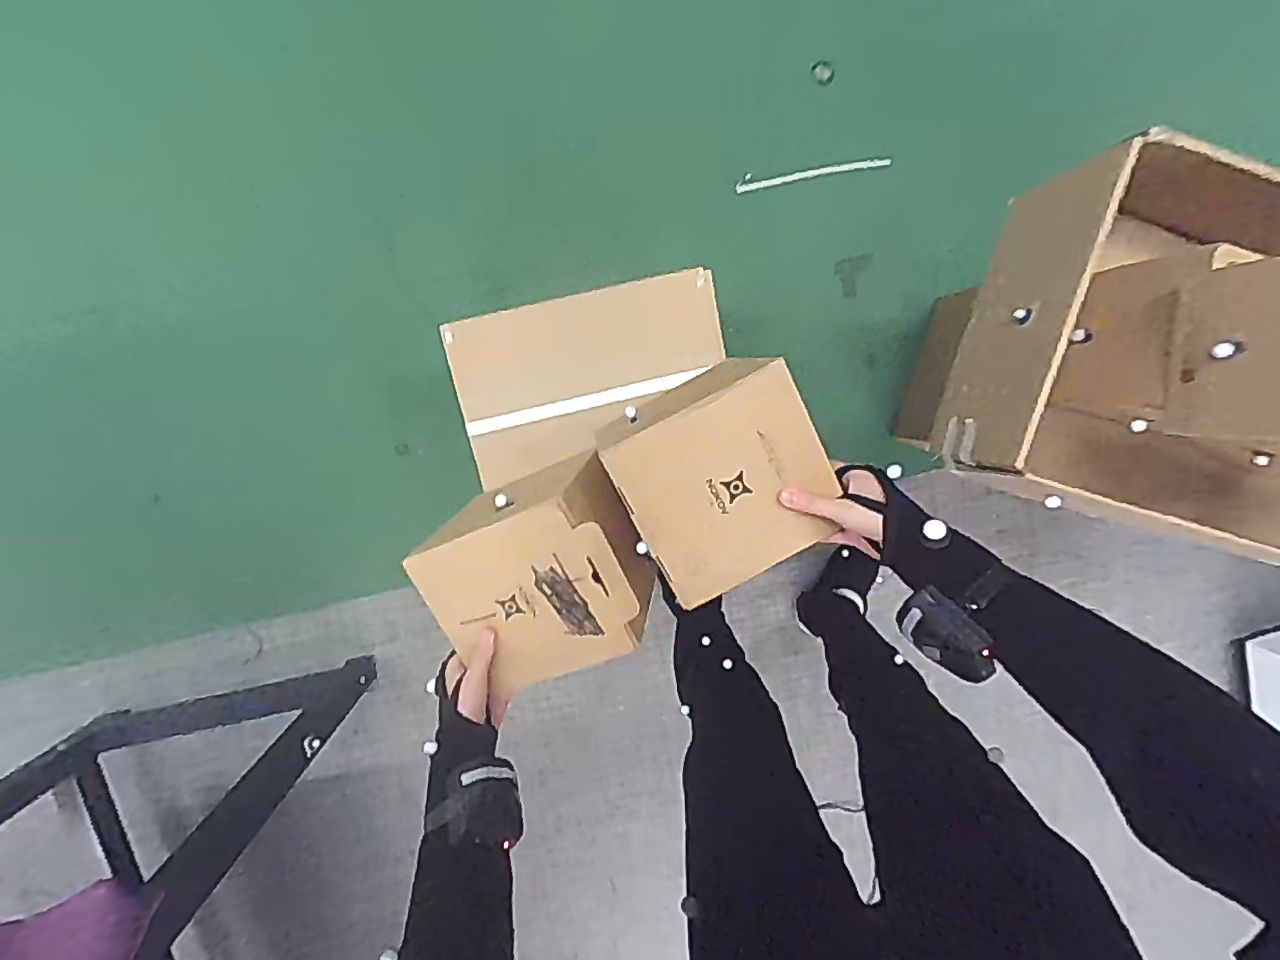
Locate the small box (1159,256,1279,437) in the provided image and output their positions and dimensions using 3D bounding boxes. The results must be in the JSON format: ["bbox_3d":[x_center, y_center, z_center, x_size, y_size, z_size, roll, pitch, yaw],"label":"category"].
[{"bbox_3d":[0.654,-0.125,0.503,0.179,0.176,0.168,-2,98,-4],"label":"small box"}]
